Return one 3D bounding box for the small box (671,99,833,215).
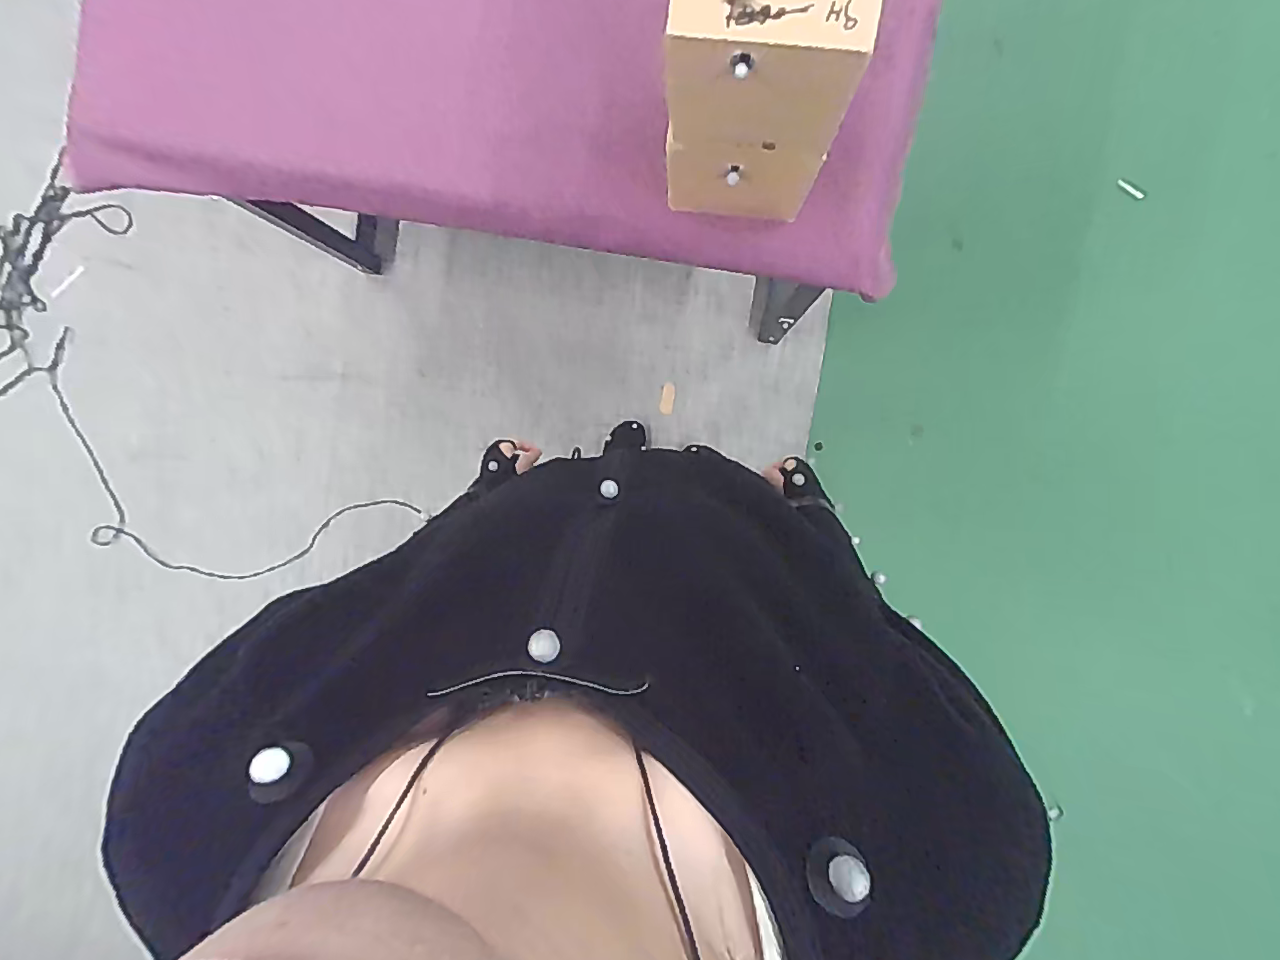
[{"bbox_3d":[0.140,-0.444,0.663,0.179,0.176,0.168,8,95,6],"label":"small box"}]

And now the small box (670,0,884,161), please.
[{"bbox_3d":[0.125,-0.435,0.500,0.168,0.176,0.179,9,95,7],"label":"small box"}]
